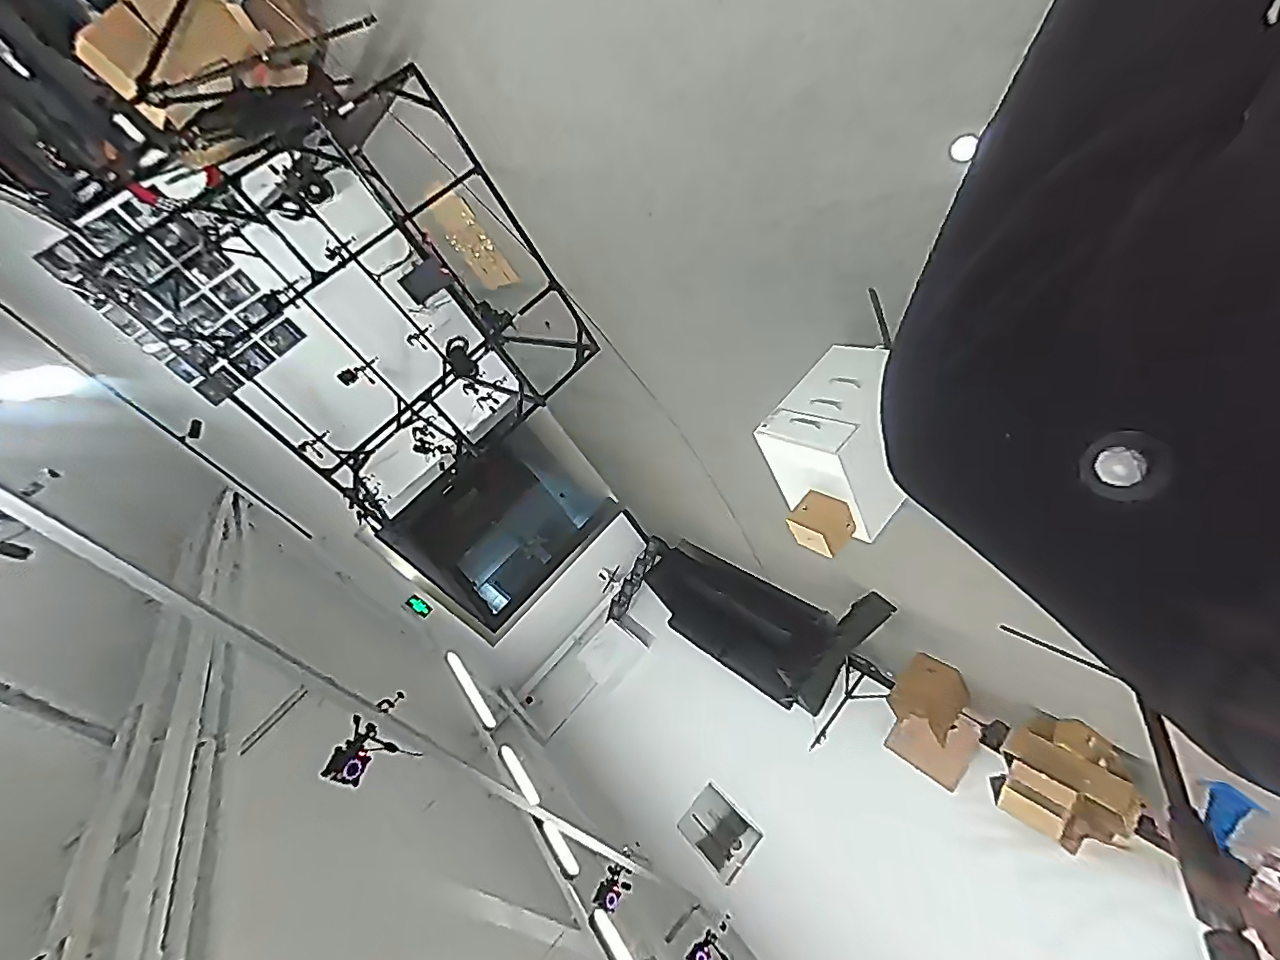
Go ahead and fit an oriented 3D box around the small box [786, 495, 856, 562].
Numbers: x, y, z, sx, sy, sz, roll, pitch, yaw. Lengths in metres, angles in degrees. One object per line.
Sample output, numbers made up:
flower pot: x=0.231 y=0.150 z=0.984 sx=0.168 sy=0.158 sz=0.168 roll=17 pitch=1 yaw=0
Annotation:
small box: x=0.708 y=0.182 z=2.113 sx=0.179 sy=0.176 sz=0.168 roll=26 pitch=157 yaw=50
